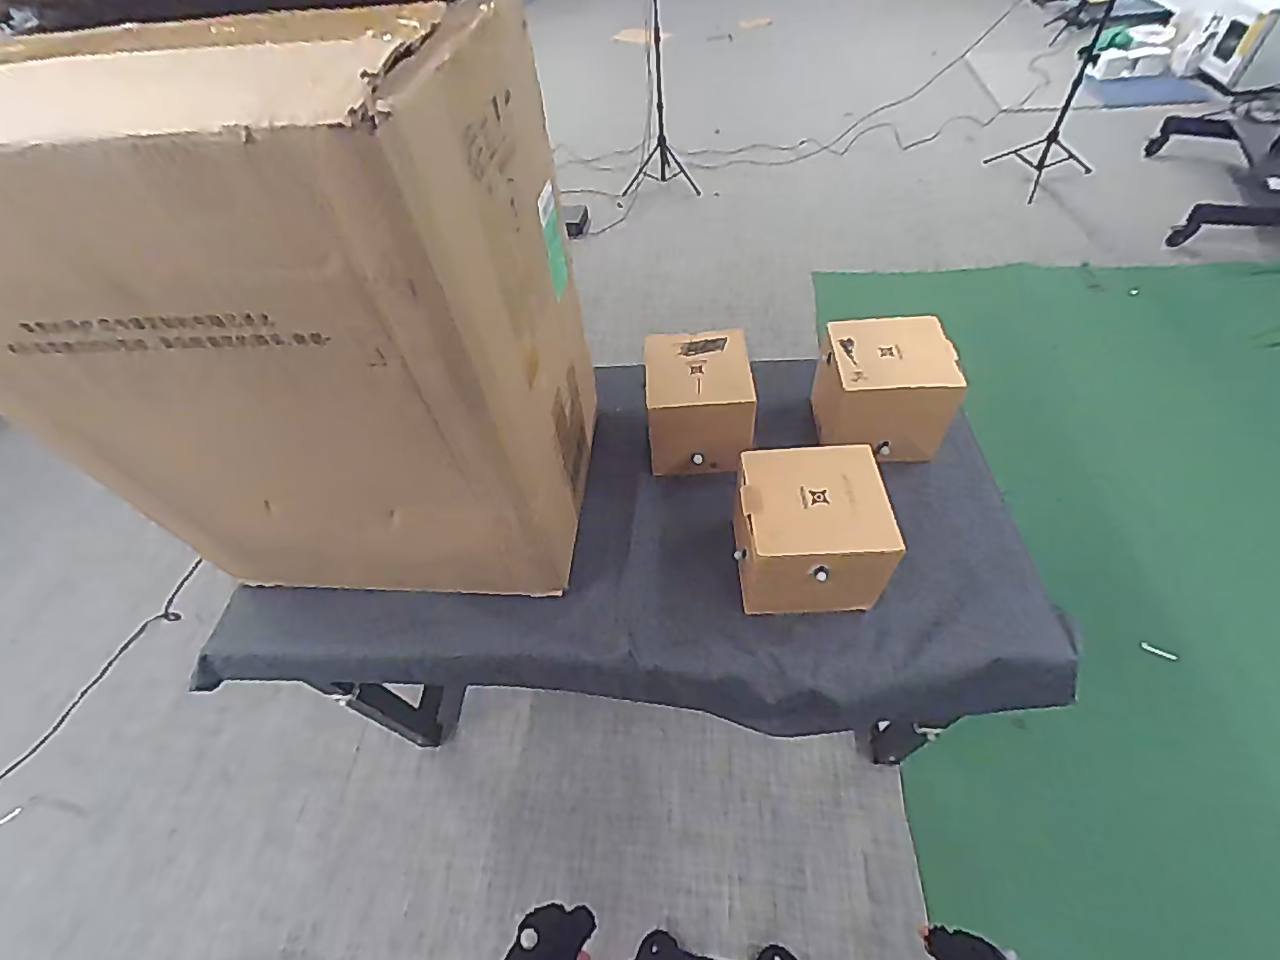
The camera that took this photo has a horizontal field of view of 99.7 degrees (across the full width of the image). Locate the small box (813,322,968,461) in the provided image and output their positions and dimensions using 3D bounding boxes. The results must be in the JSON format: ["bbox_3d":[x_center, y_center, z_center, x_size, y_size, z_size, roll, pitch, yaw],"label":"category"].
[{"bbox_3d":[0.402,-0.144,0.902,0.179,0.176,0.168,0,51,5],"label":"small box"}]

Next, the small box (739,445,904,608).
[{"bbox_3d":[0.234,0.070,0.755,0.179,0.176,0.168,-3,53,3],"label":"small box"}]
